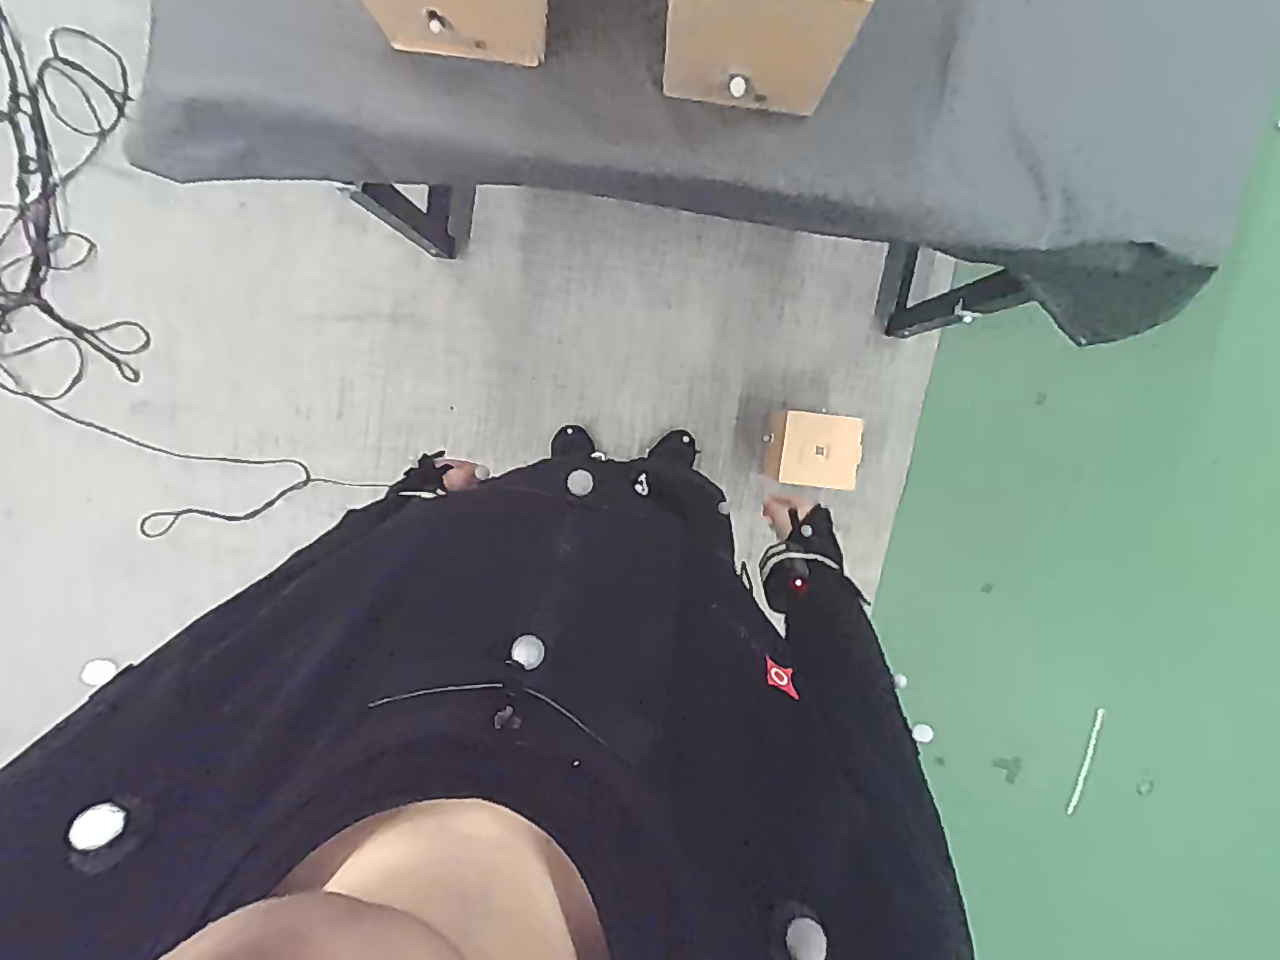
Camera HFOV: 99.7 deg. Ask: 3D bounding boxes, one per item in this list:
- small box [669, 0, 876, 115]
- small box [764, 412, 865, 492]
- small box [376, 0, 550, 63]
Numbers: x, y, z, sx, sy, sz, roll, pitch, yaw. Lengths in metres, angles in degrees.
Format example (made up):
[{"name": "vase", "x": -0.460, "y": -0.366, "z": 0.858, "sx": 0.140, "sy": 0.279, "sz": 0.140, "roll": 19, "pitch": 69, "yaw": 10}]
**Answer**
[{"name": "small box", "x": 0.120, "y": -0.483, "z": 0.497, "sx": 0.168, "sy": 0.176, "sz": 0.179, "roll": 8, "pitch": 97, "yaw": 0}, {"name": "small box", "x": 0.405, "y": -0.070, "z": 1.280, "sx": 0.179, "sy": 0.176, "sz": 0.168, "roll": 5, "pitch": 96, "yaw": 0}, {"name": "small box", "x": -0.174, "y": -0.538, "z": 0.496, "sx": 0.168, "sy": 0.176, "sz": 0.179, "roll": 7, "pitch": 97, "yaw": -1}]
